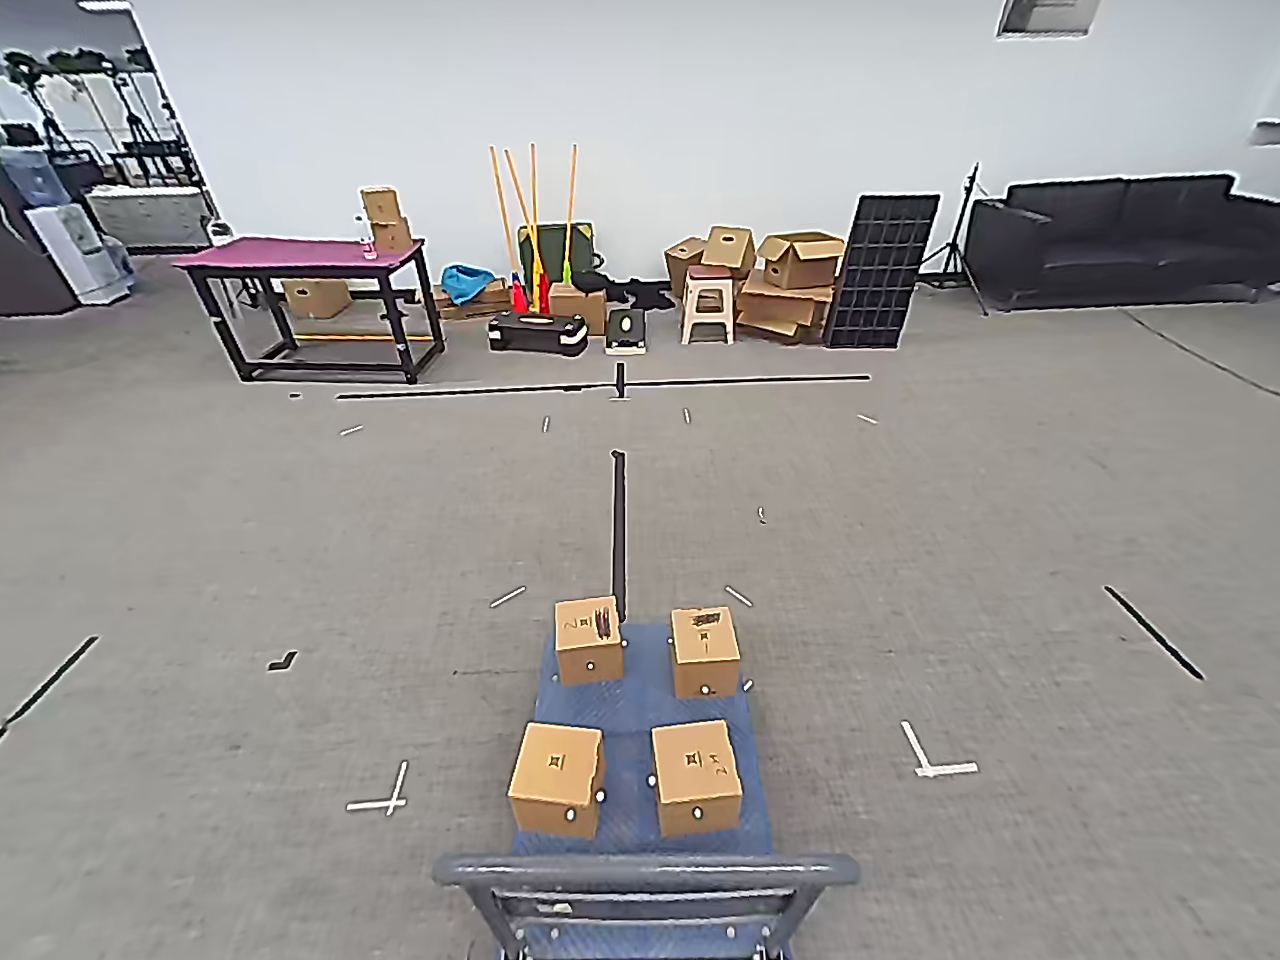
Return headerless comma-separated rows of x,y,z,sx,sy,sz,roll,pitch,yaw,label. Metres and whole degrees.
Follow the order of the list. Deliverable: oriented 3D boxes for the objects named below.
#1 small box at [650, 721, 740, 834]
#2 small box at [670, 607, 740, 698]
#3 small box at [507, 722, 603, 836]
0.119,0.676,1.227,0.179,0.176,0.168,-4,37,-4,small box
0.173,0.476,1.496,0.168,0.176,0.179,-3,37,-1,small box
-0.185,0.681,1.230,0.179,0.176,0.168,4,36,5,small box
